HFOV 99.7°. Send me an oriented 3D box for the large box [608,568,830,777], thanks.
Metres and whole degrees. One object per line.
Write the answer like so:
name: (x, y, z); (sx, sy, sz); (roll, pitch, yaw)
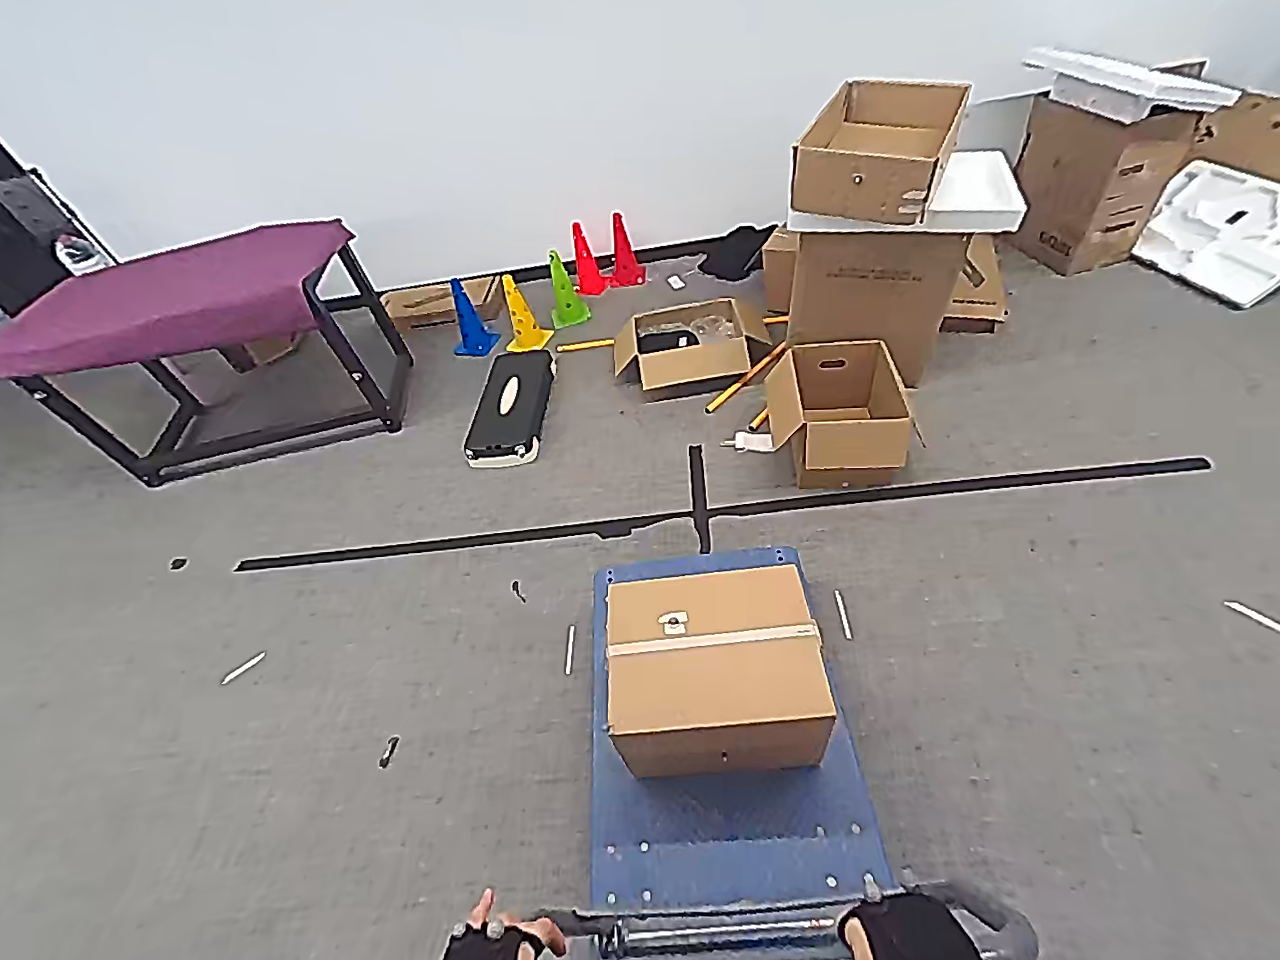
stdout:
large box: (0.160, 0.429, 1.181); (0.408, 0.320, 0.320); (-8, 46, 5)
